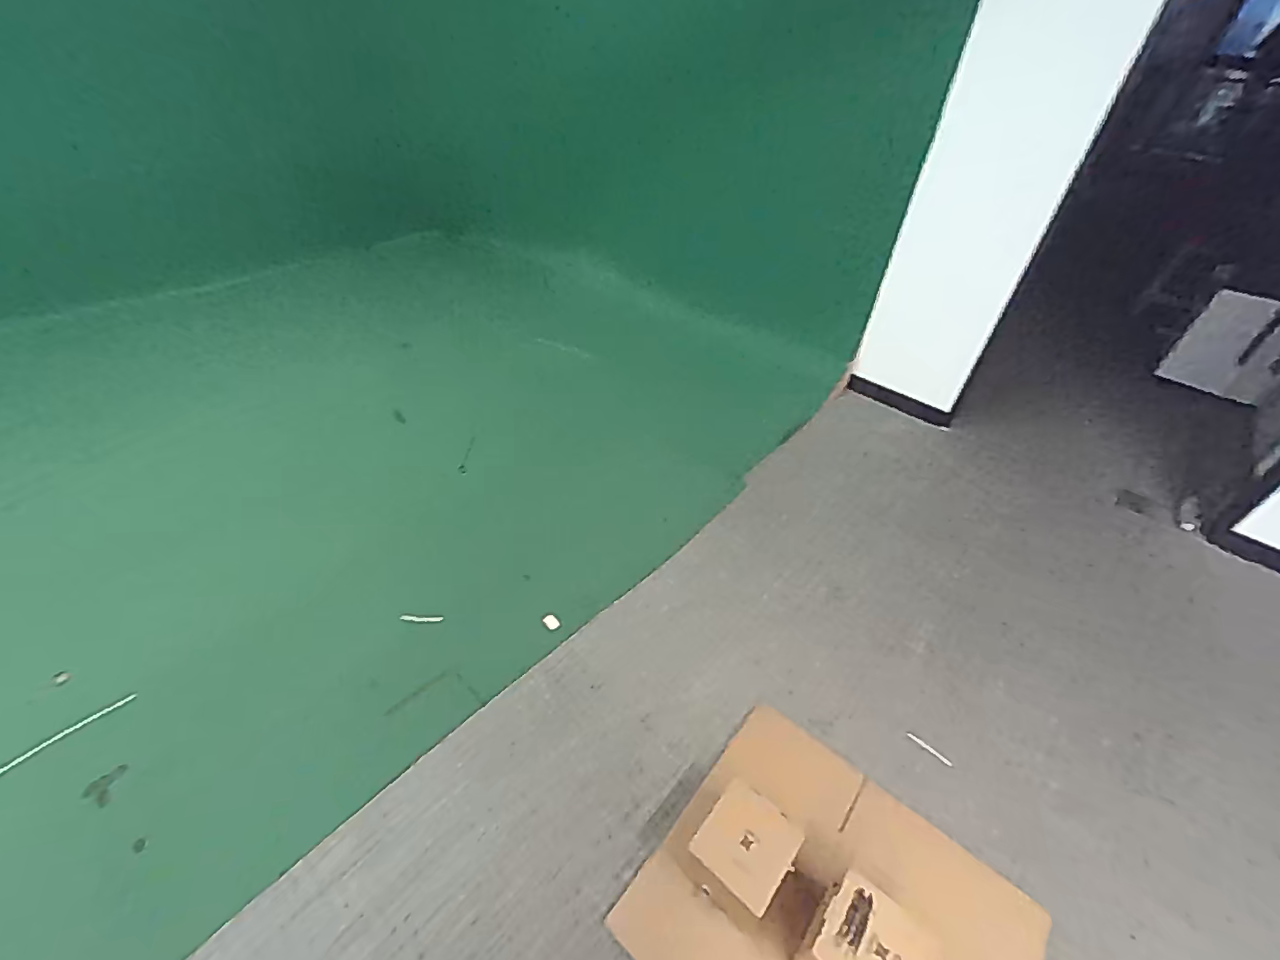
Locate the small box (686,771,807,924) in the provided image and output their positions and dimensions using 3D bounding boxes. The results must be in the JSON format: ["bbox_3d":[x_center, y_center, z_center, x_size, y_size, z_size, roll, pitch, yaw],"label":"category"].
[{"bbox_3d":[0.206,0.742,1.094,0.168,0.176,0.179,31,50,28],"label":"small box"}]
